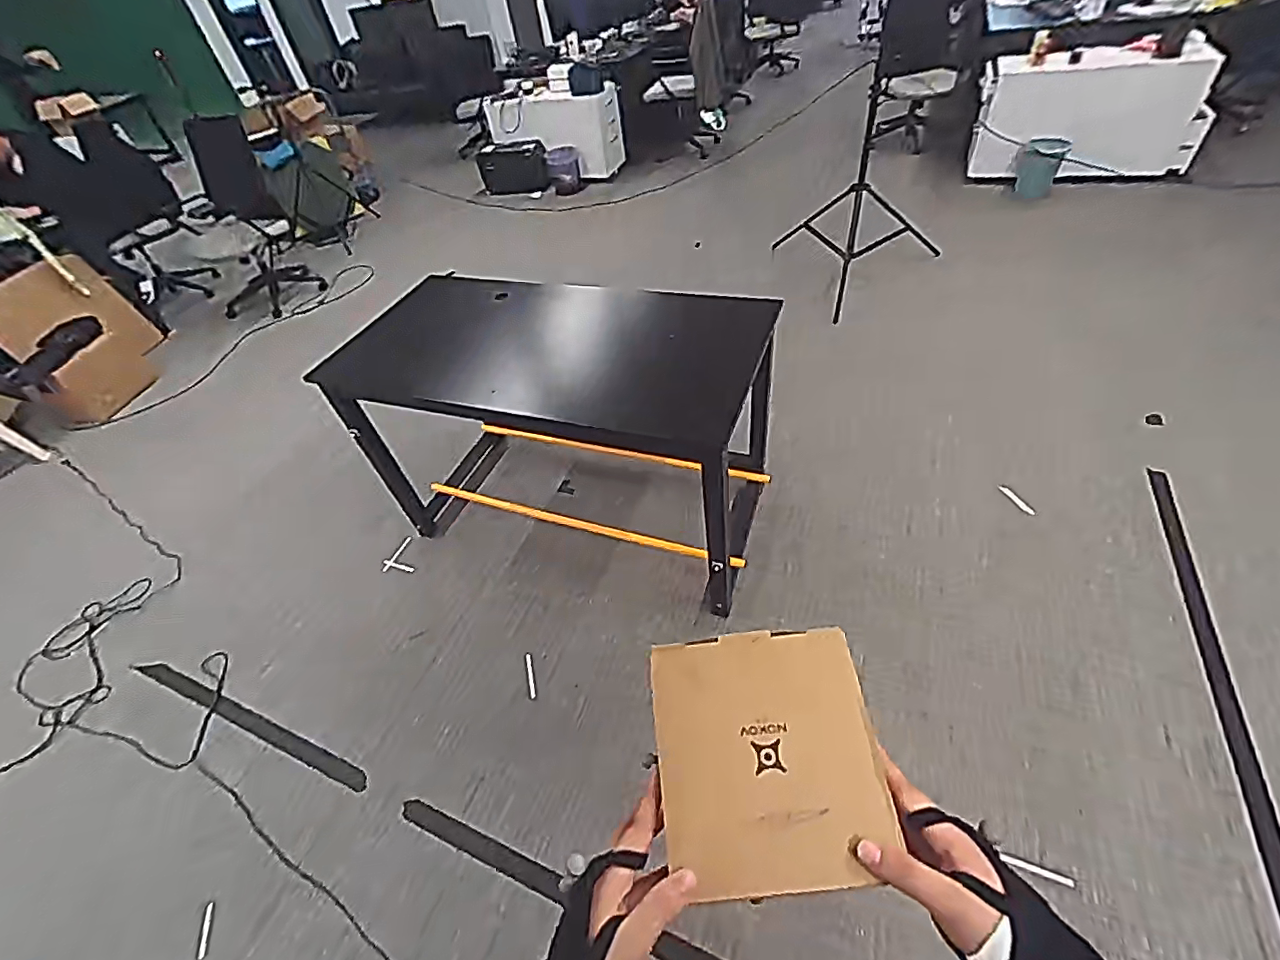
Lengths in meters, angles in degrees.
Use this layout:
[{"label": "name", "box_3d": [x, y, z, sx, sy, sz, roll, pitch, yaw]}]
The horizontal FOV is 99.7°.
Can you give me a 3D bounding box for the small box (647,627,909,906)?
[{"label": "small box", "box_3d": [0.095, 0.243, 0.468, 0.168, 0.176, 0.179, -6, 58, 0]}]
